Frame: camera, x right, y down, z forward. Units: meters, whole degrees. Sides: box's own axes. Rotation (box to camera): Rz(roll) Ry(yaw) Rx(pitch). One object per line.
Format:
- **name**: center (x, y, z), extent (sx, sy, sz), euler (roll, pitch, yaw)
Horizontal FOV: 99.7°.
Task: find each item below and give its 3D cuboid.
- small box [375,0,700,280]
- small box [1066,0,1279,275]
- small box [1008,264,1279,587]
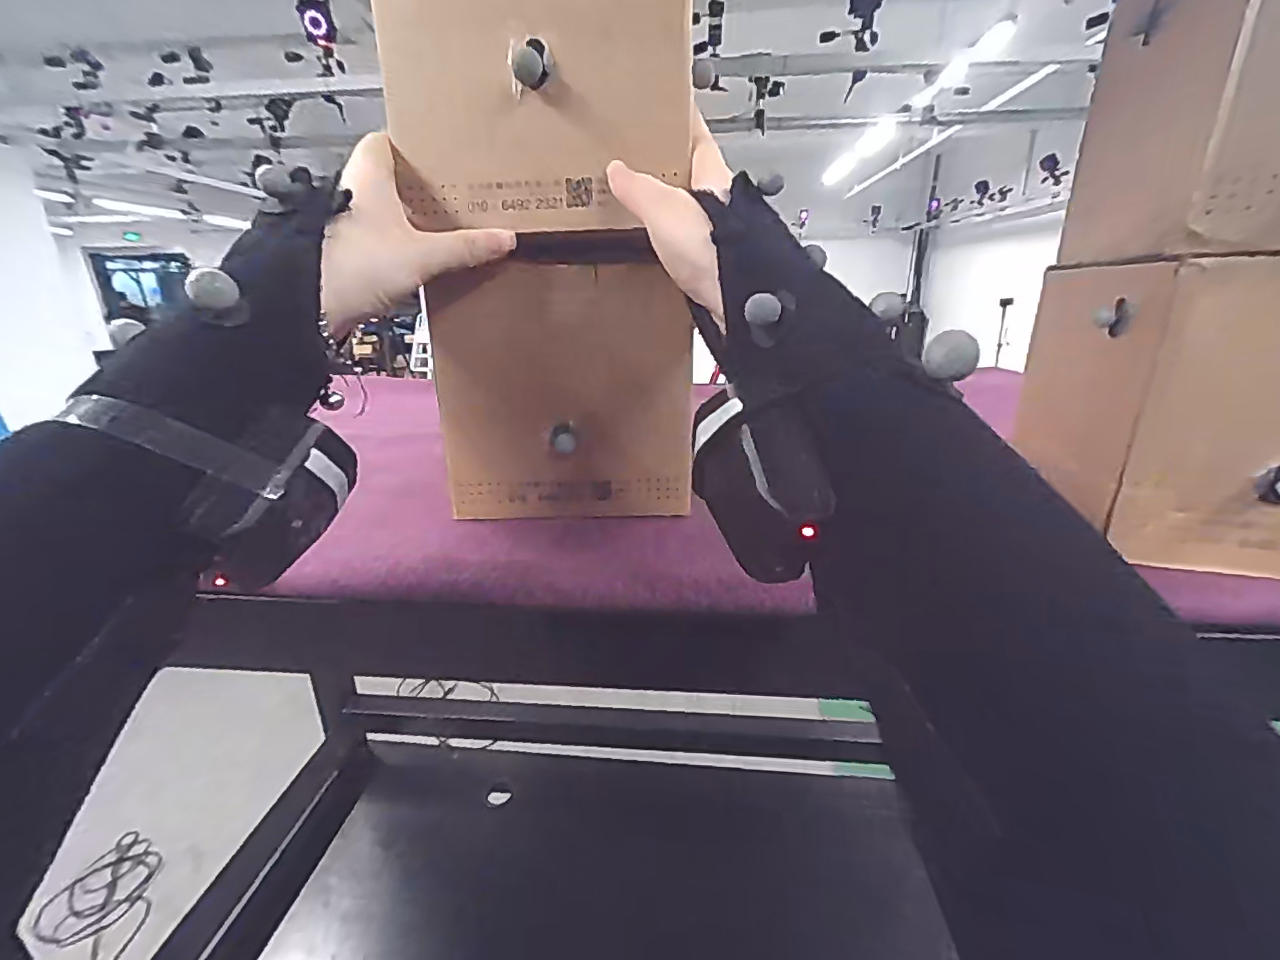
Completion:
- **small box**: center (-0.045, -0.229, 0.354), extent (0.168, 0.176, 0.179), euler (0, 17, 5)
- **small box**: center (0.361, -0.196, 0.283), extent (0.168, 0.176, 0.179), euler (4, 22, 19)
- **small box**: center (0.365, -0.045, 0.343), extent (0.168, 0.176, 0.179), euler (4, 21, 15)
